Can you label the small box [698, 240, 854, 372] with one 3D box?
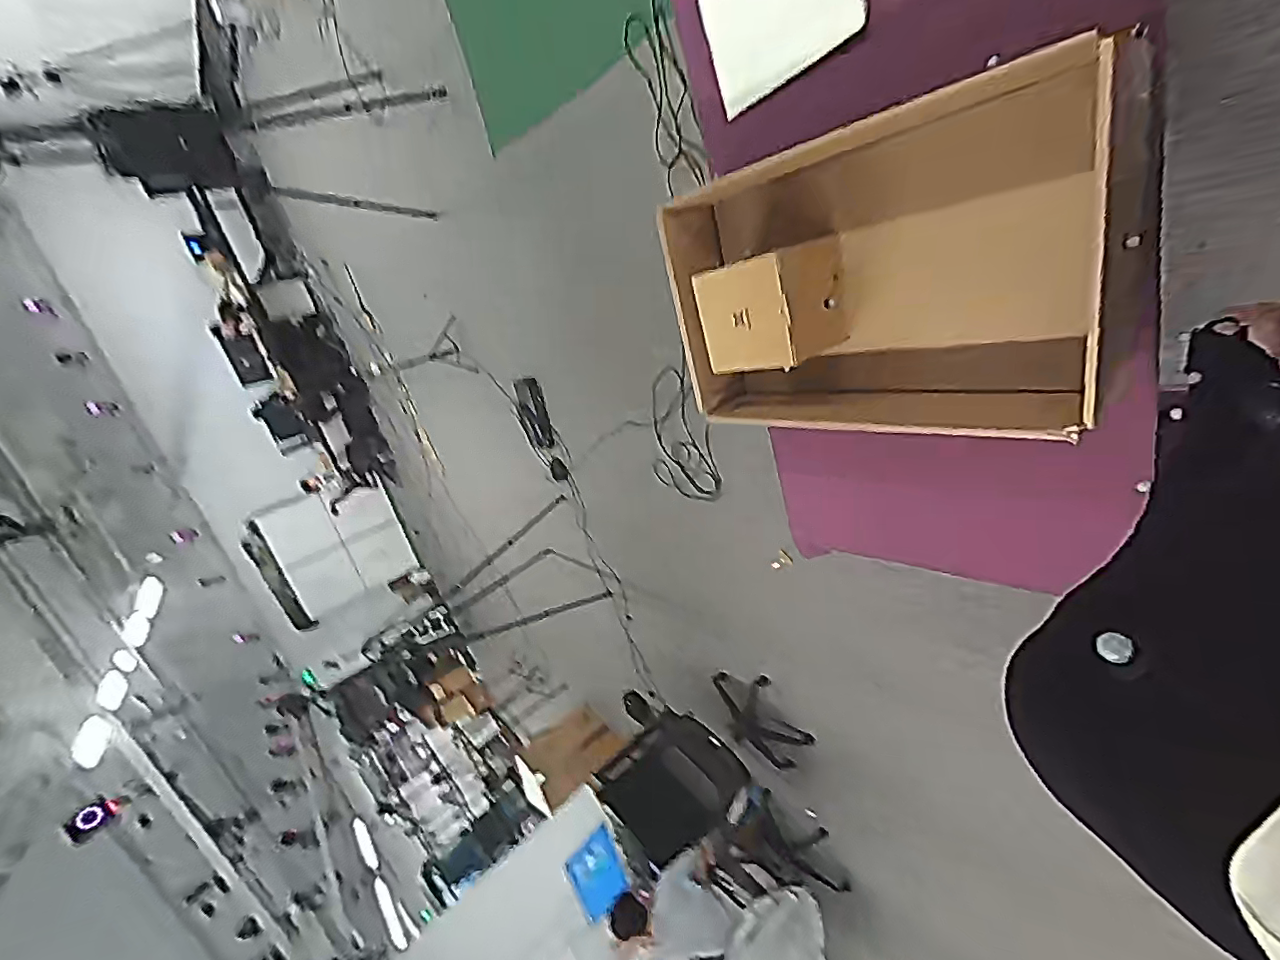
[{"bbox_3d":[0.230,-0.288,0.910,0.179,0.176,0.168,6,118,51],"label":"small box"}]
